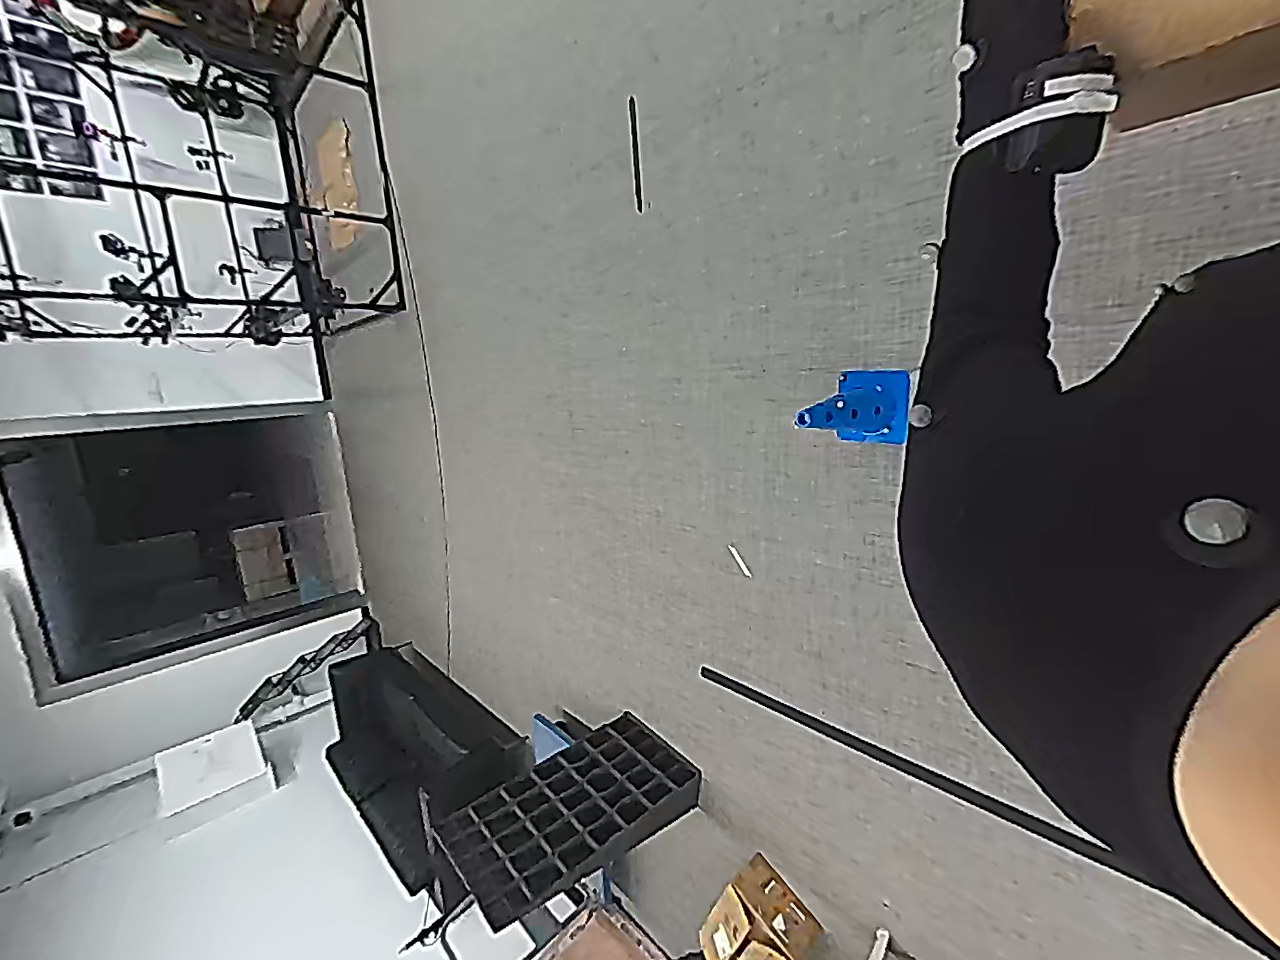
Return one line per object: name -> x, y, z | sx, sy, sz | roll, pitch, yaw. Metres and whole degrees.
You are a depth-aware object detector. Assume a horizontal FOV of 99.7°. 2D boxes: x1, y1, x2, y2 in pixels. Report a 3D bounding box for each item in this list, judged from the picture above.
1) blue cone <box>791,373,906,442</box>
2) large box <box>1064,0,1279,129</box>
blue cone -> 0.525, -0.175, 1.413 | 0.192, 0.380, 0.193 | 13, 110, 47
large box -> 0.512, -0.459, 0.302 | 0.408, 0.320, 0.320 | 5, 113, 46
